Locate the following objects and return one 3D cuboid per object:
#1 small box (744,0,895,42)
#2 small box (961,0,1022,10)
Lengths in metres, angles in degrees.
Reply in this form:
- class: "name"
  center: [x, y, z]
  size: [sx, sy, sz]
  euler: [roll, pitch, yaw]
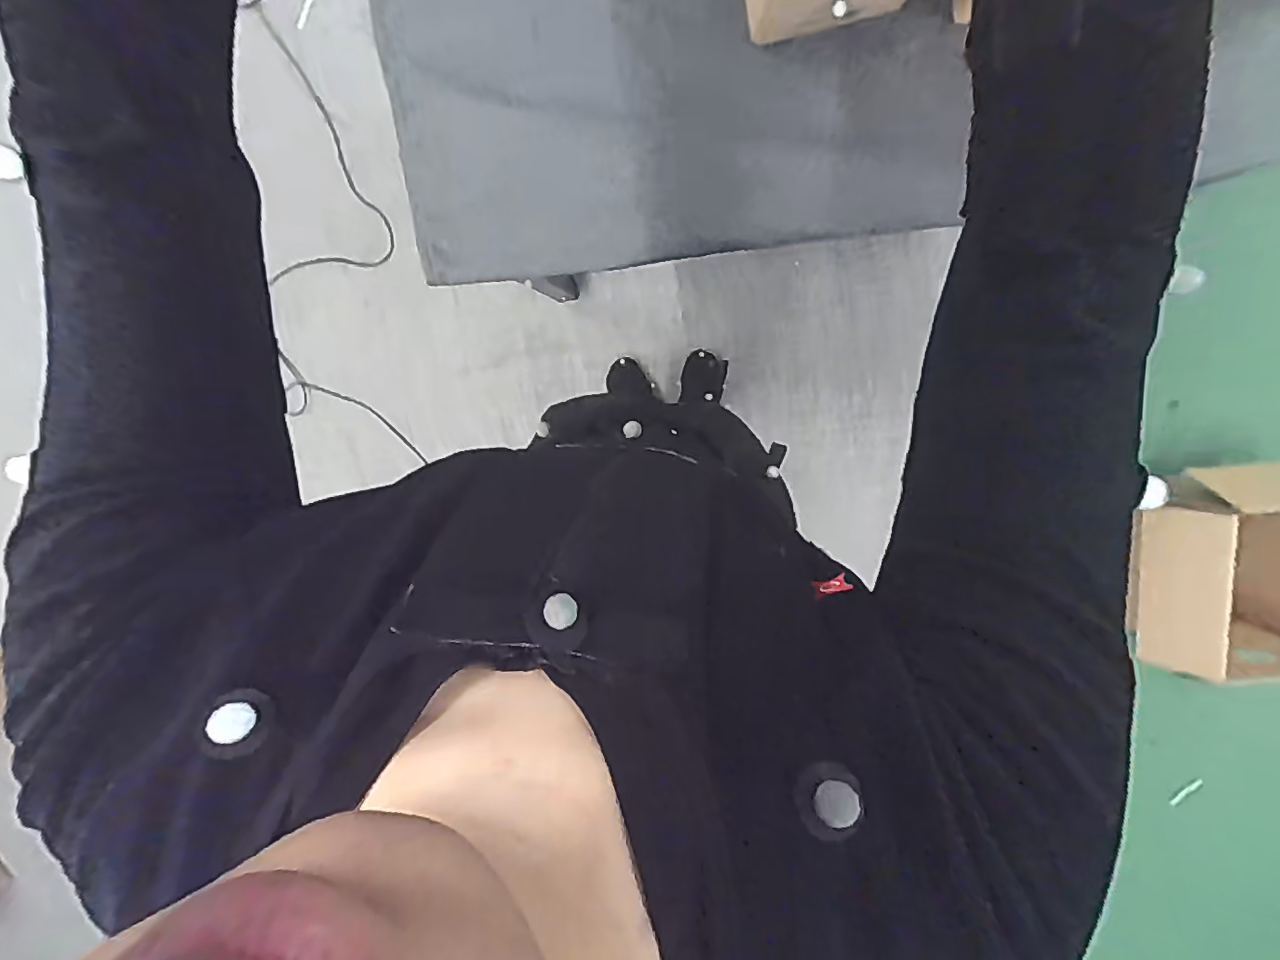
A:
- class: "small box"
  center: [0.183, -0.571, 0.507]
  size: [0.168, 0.176, 0.179]
  euler: [-11, 102, 5]
- class: "small box"
  center: [0.407, -0.583, 0.497]
  size: [0.168, 0.176, 0.179]
  euler: [-10, 102, 5]
